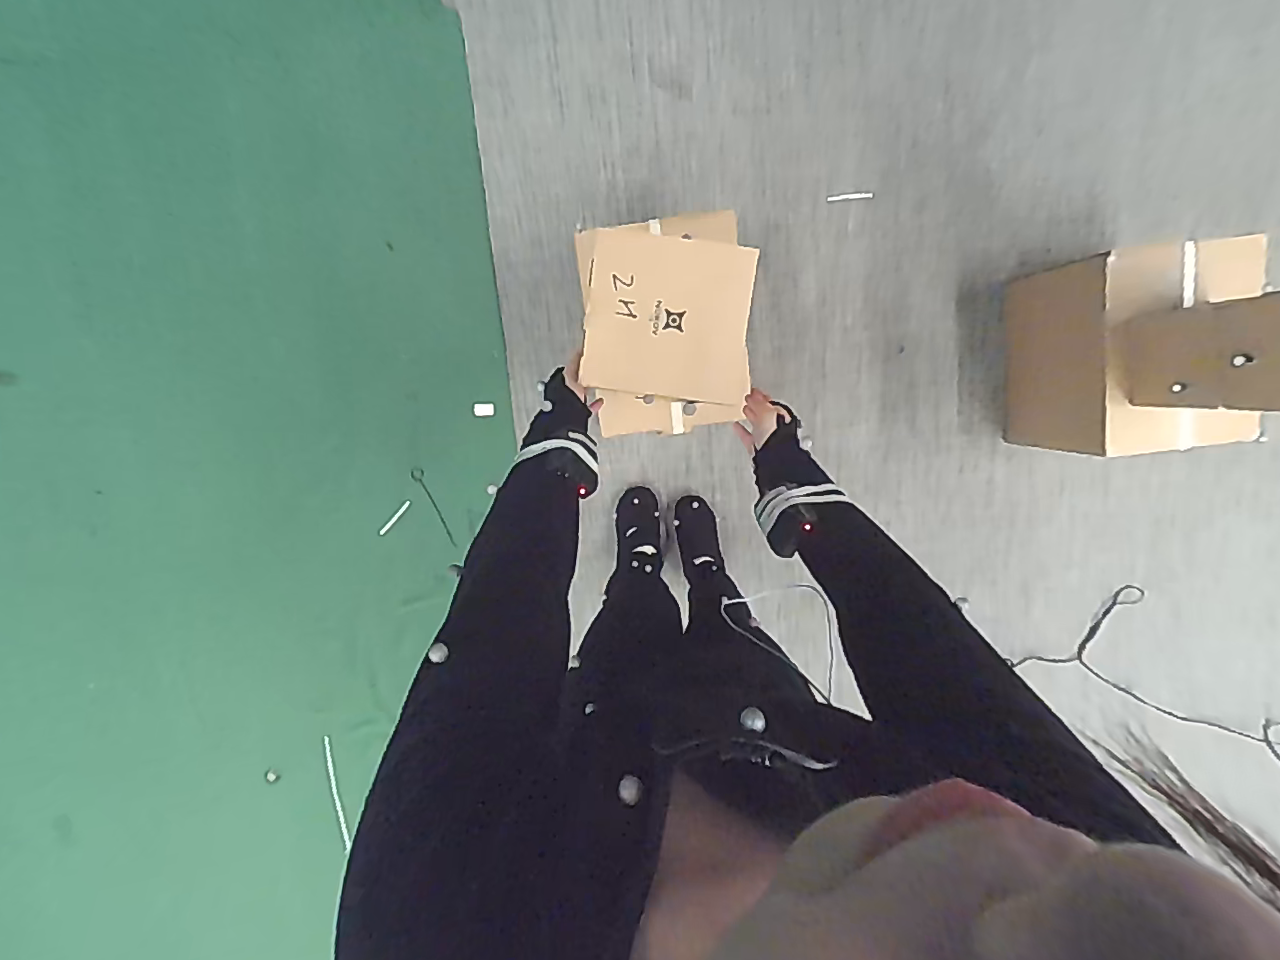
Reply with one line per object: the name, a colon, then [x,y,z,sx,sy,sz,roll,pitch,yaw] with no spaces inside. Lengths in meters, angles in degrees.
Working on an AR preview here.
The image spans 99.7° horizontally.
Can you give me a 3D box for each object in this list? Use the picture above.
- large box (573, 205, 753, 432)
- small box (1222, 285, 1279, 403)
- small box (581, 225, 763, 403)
large box: [0.052,-0.332,1.208,0.320,0.320,0.408,-7,99,1]
small box: [1.049,-0.216,0.817,0.168,0.176,0.179,-15,100,4]
small box: [0.033,-0.189,0.655,0.179,0.176,0.168,8,99,0]
